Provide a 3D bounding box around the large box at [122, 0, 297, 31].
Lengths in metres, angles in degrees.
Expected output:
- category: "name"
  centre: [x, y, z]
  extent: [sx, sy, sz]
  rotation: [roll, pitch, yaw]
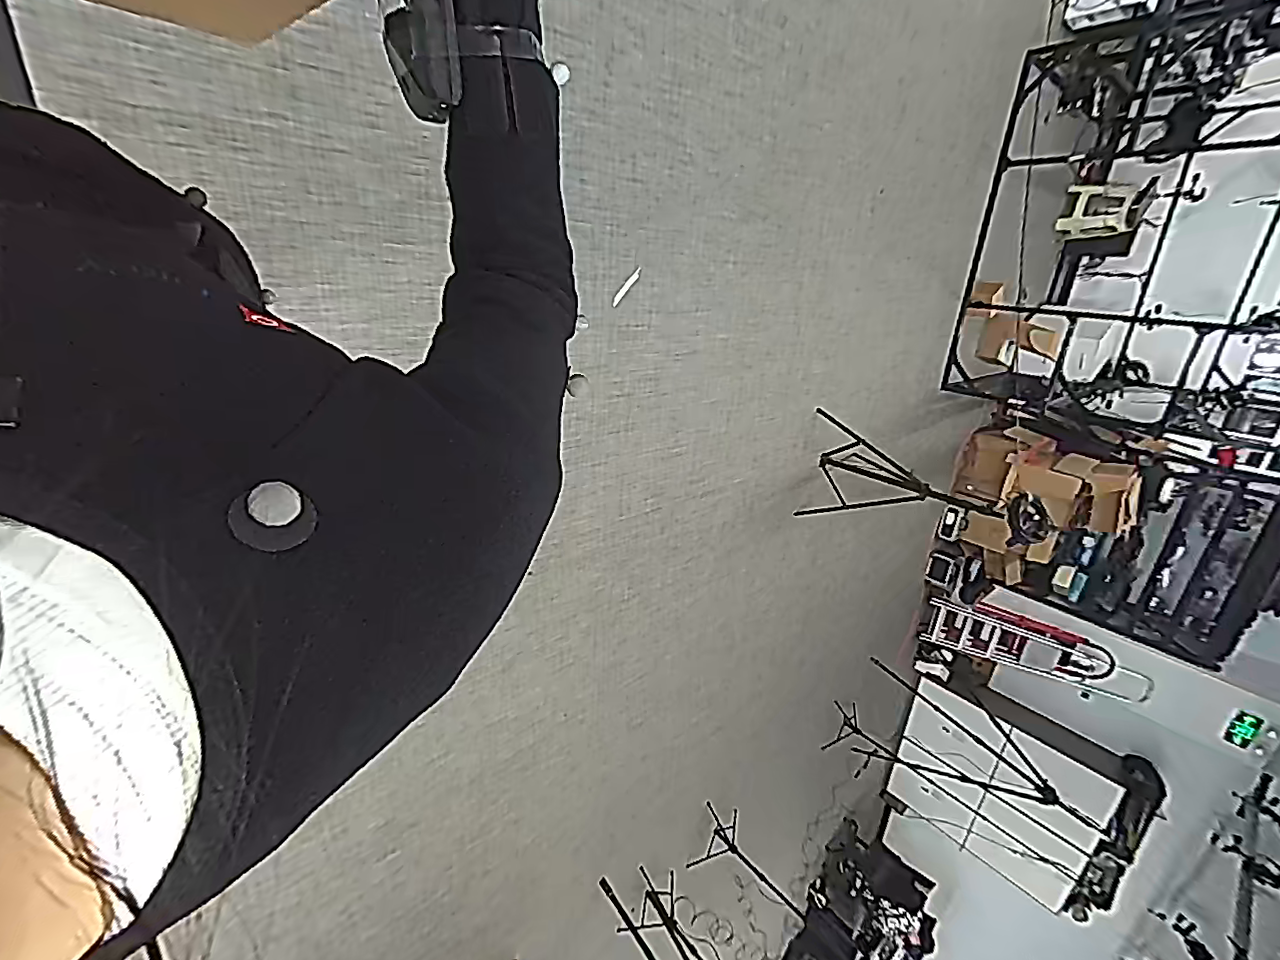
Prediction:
- category: "large box"
  centre: [-0.363, -0.419, 0.183]
  extent: [0.408, 0.320, 0.320]
  rotation: [-17, 125, -41]
